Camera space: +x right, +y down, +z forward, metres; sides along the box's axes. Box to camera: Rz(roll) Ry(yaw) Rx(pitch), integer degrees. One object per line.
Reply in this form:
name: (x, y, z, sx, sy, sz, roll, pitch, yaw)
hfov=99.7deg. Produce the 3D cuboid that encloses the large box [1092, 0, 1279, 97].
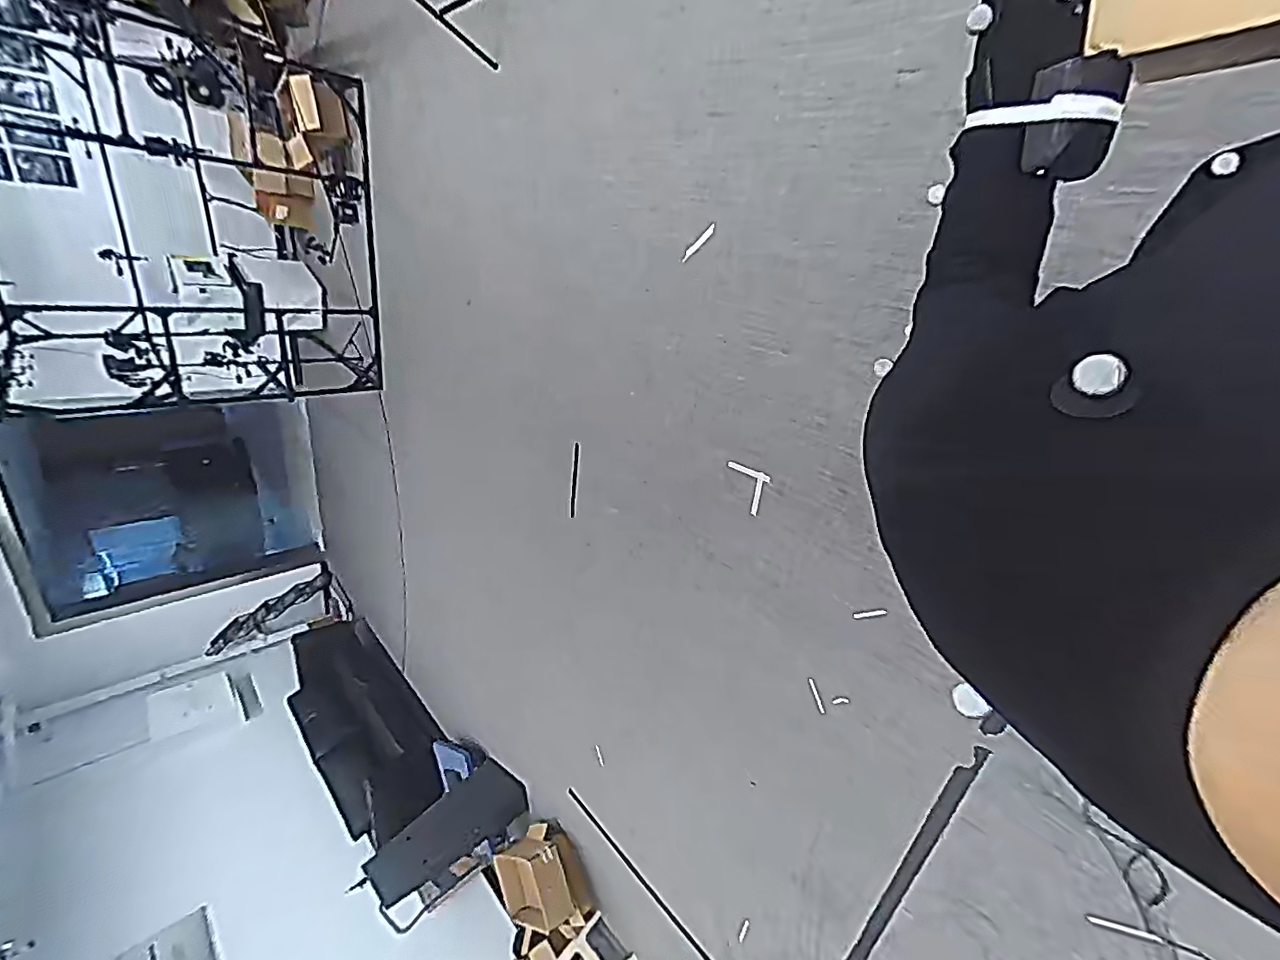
large box: (0.522, -0.427, 0.264, 0.408, 0.320, 0.320, 16, 125, 41)
